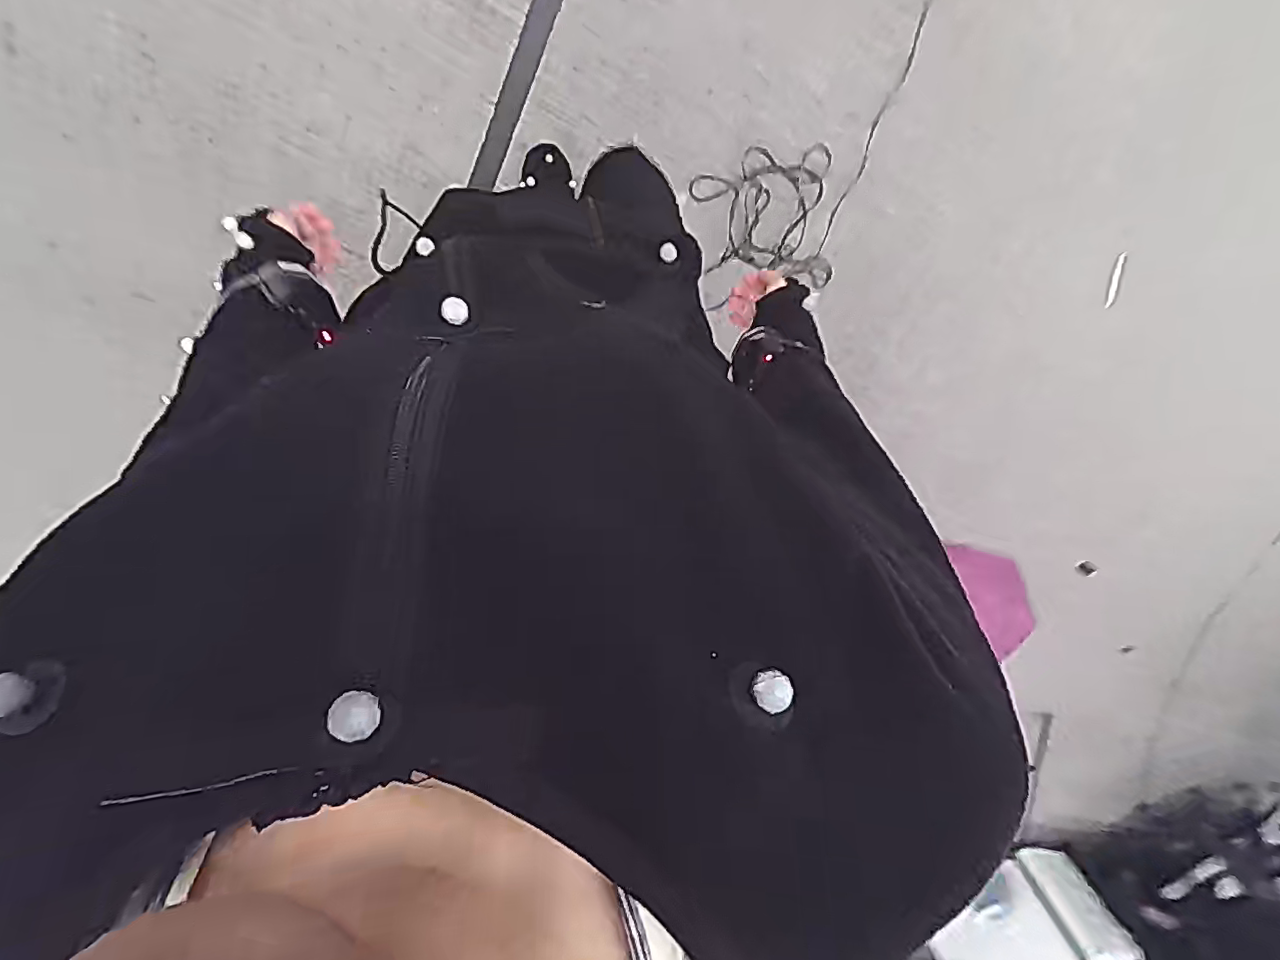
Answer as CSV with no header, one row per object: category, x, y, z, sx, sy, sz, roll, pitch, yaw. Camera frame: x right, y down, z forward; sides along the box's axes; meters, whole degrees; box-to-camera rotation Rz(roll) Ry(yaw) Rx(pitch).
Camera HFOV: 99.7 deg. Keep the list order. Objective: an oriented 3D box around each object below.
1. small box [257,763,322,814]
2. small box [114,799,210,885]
small box,-1.294,1.168,1.981,0.168,0.176,0.179,21,116,-20
small box,-1.525,1.159,1.735,0.168,0.176,0.179,25,114,-23
